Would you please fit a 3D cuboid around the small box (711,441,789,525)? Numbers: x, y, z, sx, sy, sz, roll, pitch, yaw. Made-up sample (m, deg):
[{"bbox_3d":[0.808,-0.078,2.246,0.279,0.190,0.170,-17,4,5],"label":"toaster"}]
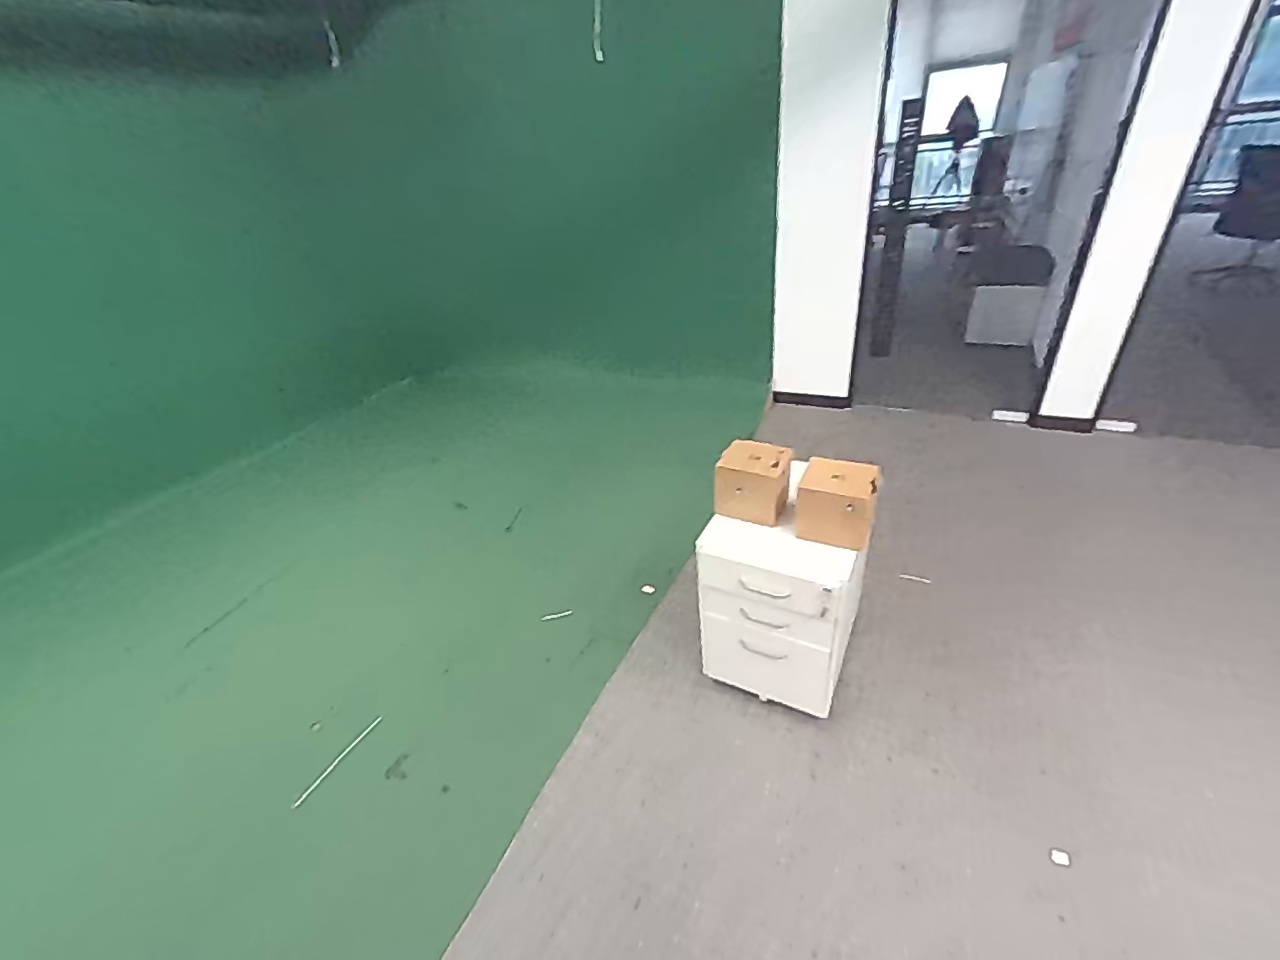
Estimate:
[{"bbox_3d":[0.313,0.008,1.542,0.179,0.176,0.168,12,37,26],"label":"small box"}]
